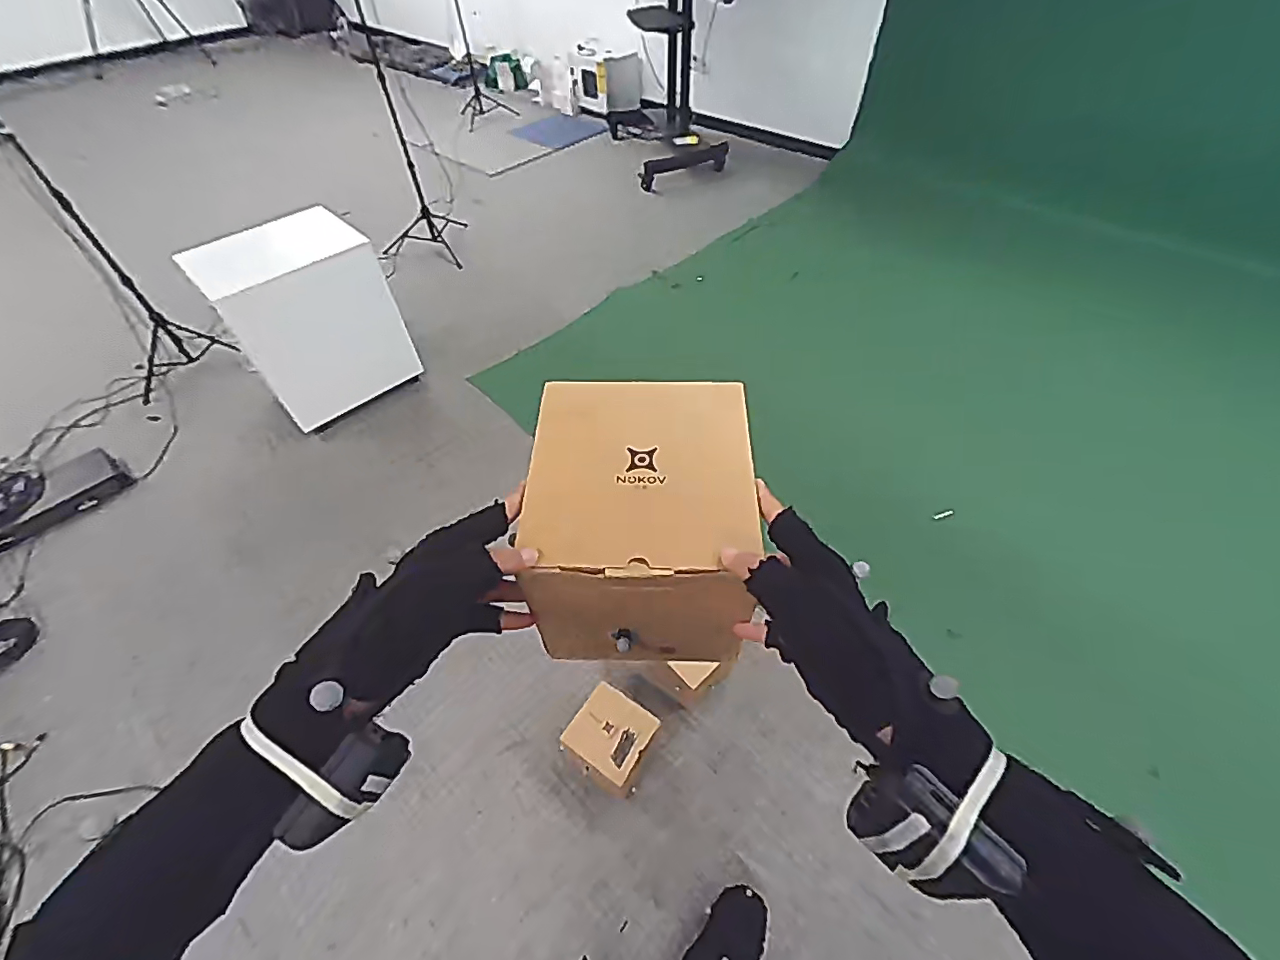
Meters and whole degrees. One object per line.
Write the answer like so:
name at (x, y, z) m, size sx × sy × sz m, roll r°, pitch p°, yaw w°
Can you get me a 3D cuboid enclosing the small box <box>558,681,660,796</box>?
small box at (-0.067, 0.620, 1.286) m, size 0.179 × 0.176 × 0.168 m, roll 27°, pitch 55°, yaw 23°
